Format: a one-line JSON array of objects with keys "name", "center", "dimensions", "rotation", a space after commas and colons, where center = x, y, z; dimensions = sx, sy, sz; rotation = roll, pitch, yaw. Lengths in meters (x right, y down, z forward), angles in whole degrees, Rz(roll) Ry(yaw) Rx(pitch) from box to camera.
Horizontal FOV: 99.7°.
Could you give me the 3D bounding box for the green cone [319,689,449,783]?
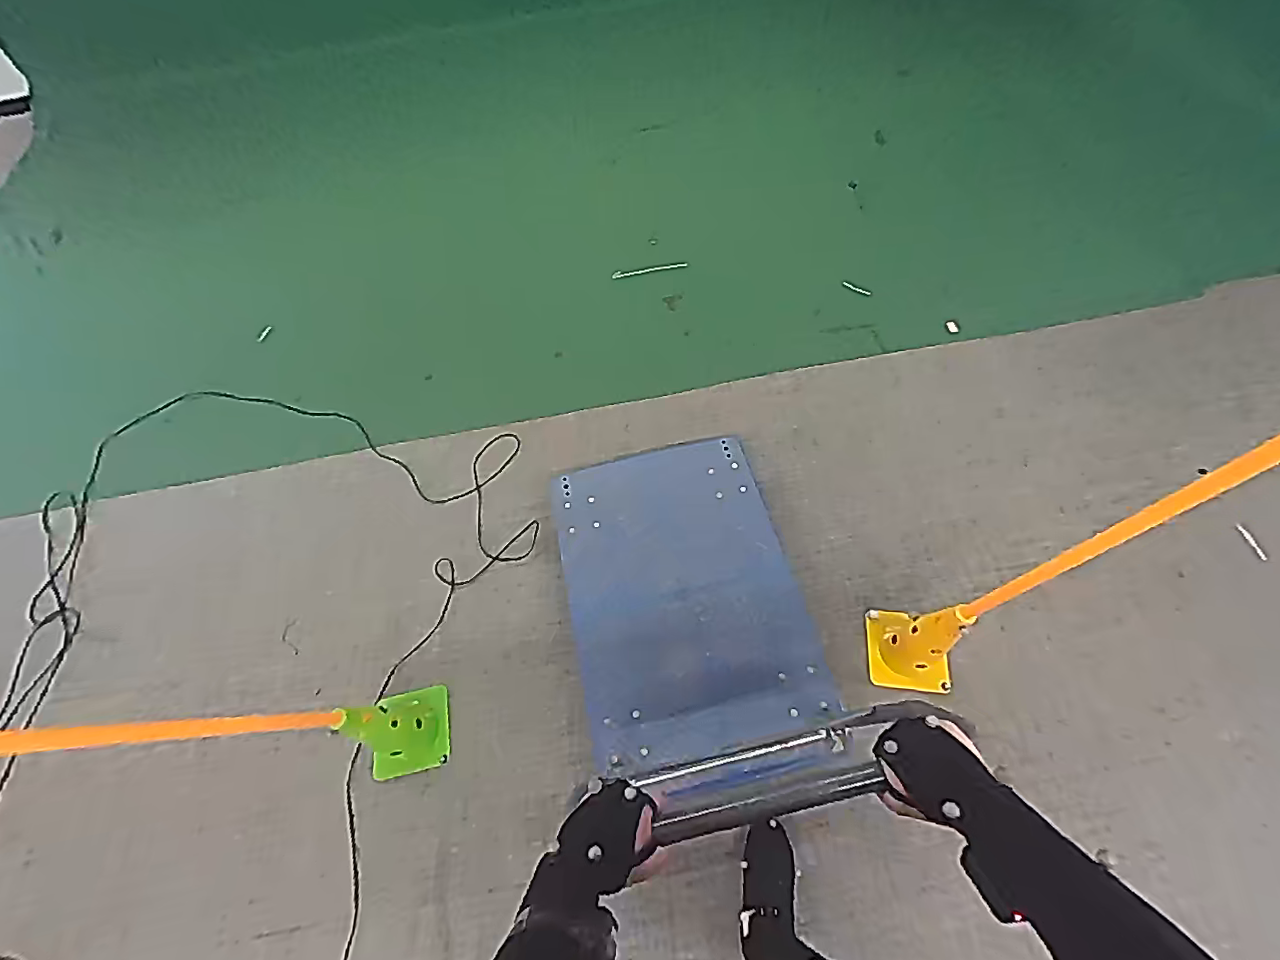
[{"name": "green cone", "center": [-0.622, 0.585, 1.274], "dimensions": [0.202, 0.368, 0.200], "rotation": [-15, 60, -1]}]
